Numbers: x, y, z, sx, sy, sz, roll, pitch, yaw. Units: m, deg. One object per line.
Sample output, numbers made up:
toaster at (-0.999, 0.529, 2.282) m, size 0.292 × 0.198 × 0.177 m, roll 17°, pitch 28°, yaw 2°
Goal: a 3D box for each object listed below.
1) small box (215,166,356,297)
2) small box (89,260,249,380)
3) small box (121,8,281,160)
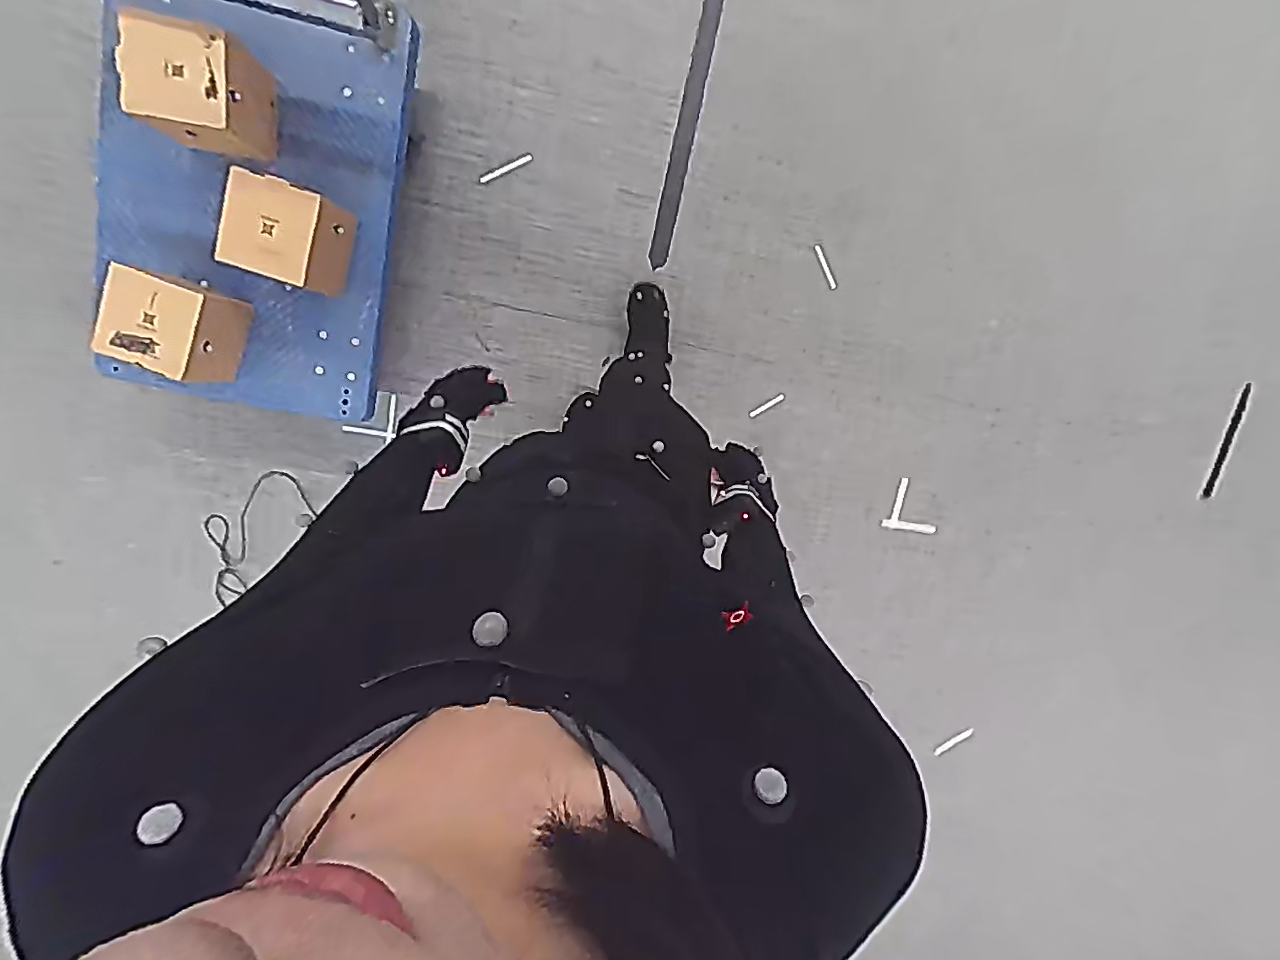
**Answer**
small box at (-0.702, -0.489, 1.092) m, size 0.168 × 0.176 × 0.179 m, roll 17°, pitch 100°, yaw -7°
small box at (-0.943, -0.314, 1.100) m, size 0.168 × 0.176 × 0.179 m, roll 21°, pitch 97°, yaw -9°
small box at (-0.825, -0.738, 1.030) m, size 0.179 × 0.176 × 0.168 m, roll 7°, pitch 101°, yaw -6°
